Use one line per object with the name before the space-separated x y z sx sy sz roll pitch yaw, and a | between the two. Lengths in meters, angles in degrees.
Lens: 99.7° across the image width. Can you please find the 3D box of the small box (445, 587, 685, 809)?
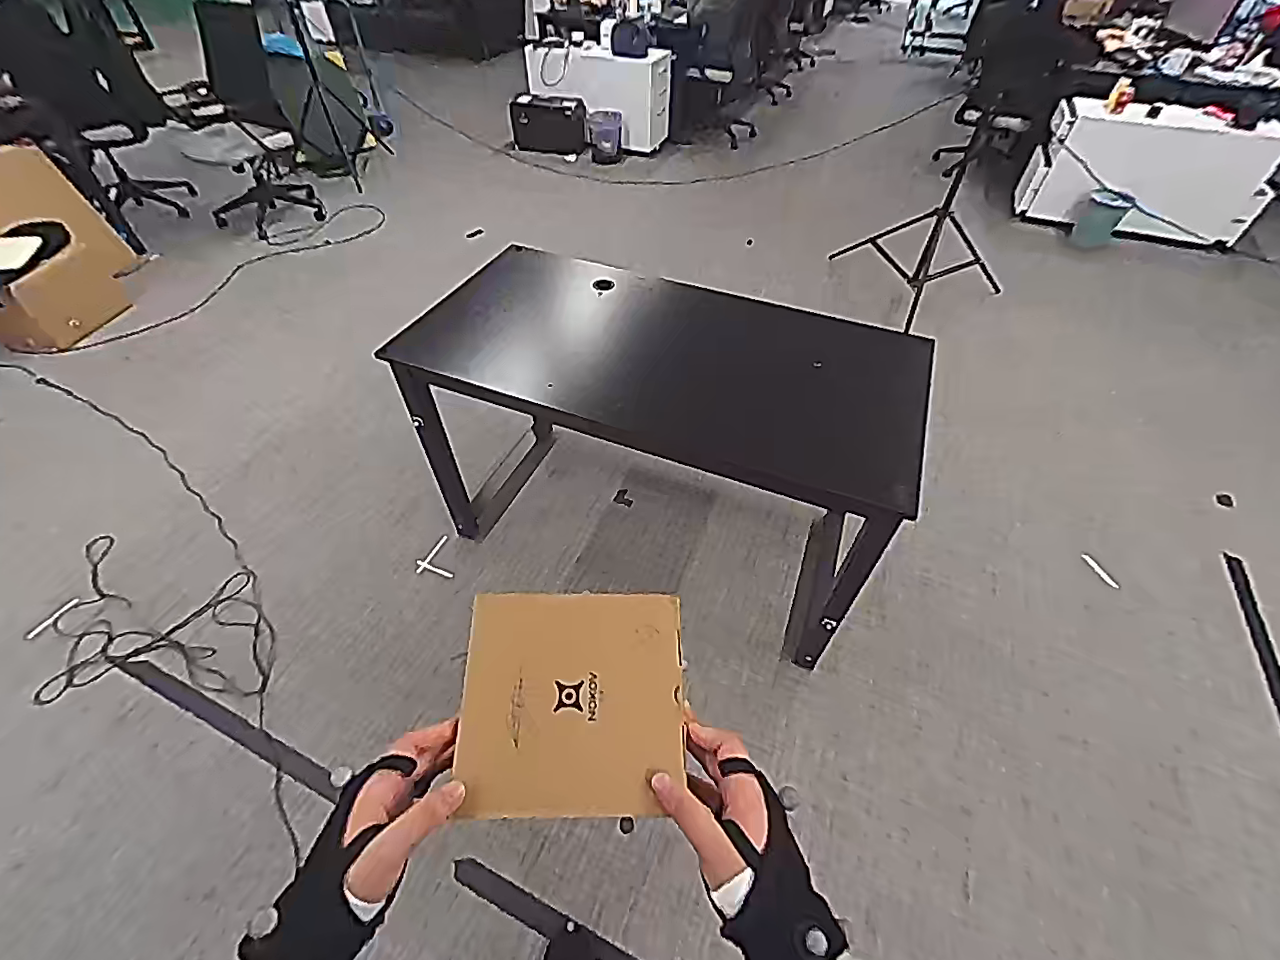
small box | -0.059 0.204 0.501 0.179 0.176 0.168 0 60 -3
